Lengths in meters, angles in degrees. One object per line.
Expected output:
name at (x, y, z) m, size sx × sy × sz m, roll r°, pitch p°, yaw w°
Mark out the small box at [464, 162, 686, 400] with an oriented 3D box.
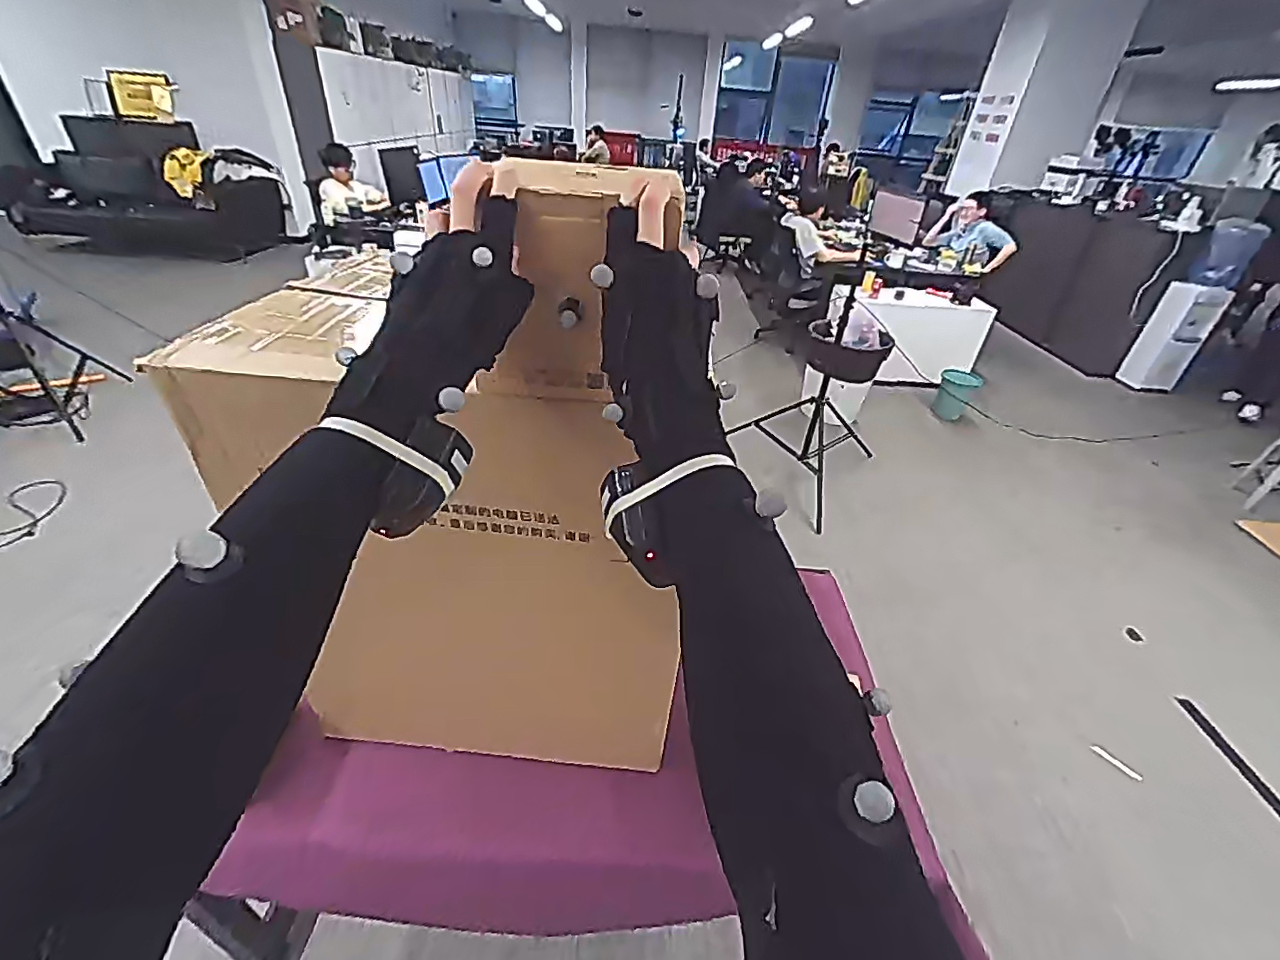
small box at (-0.049, -0.186, 0.503) m, size 0.168 × 0.176 × 0.179 m, roll 3°, pitch 36°, yaw -2°
